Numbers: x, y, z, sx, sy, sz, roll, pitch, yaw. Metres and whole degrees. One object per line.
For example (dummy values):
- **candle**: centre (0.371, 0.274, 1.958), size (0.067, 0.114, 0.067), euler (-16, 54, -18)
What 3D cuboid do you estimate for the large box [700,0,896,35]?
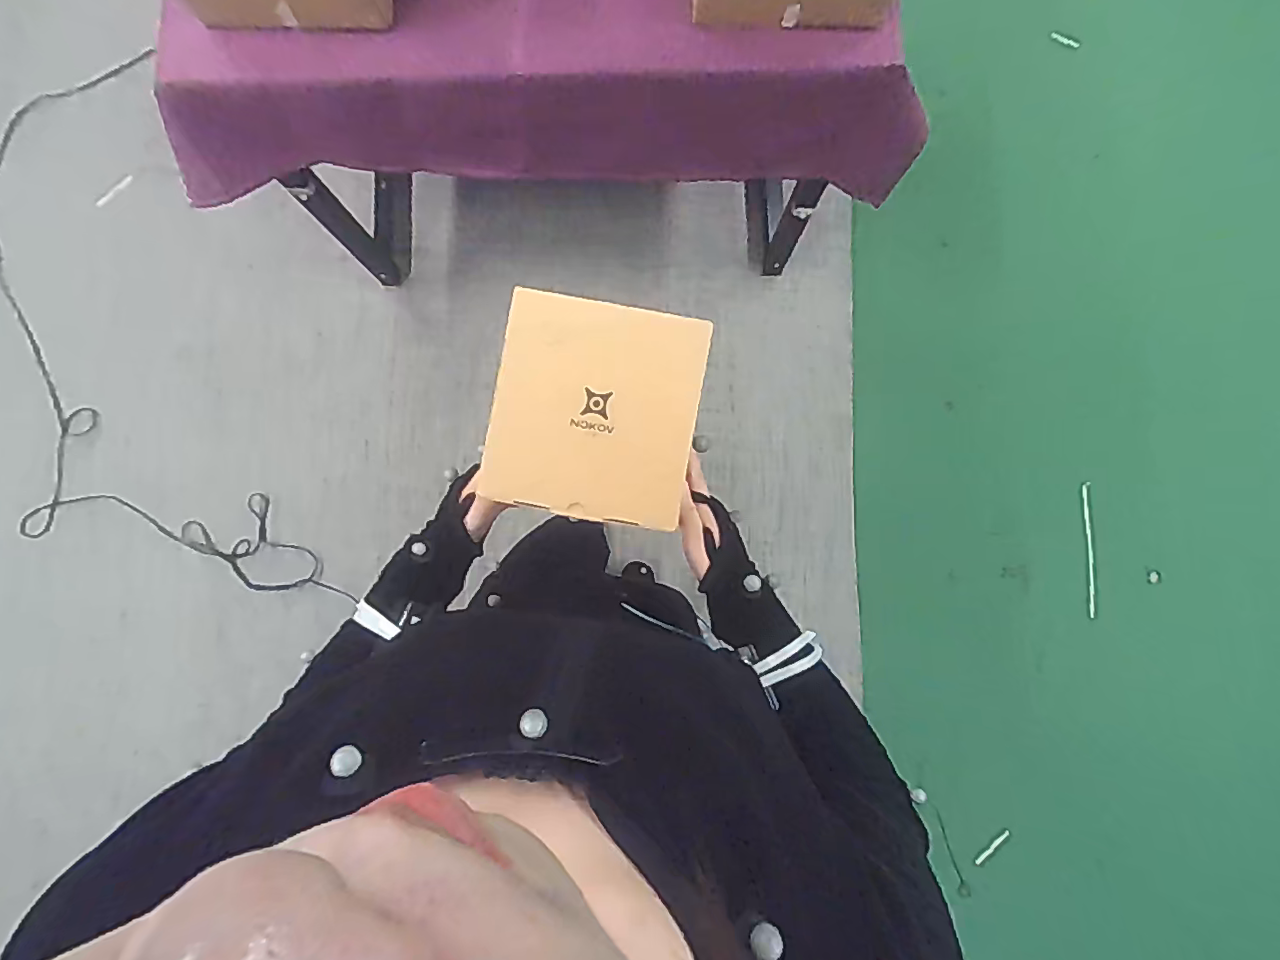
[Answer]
- **large box**: centre (0.257, -0.952, 0.763), size (0.320, 0.320, 0.408), euler (2, 84, 0)

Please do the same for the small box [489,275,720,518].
- **small box**: centre (-0.031, -0.068, 0.522), size (0.168, 0.176, 0.179), euler (11, 90, -1)
